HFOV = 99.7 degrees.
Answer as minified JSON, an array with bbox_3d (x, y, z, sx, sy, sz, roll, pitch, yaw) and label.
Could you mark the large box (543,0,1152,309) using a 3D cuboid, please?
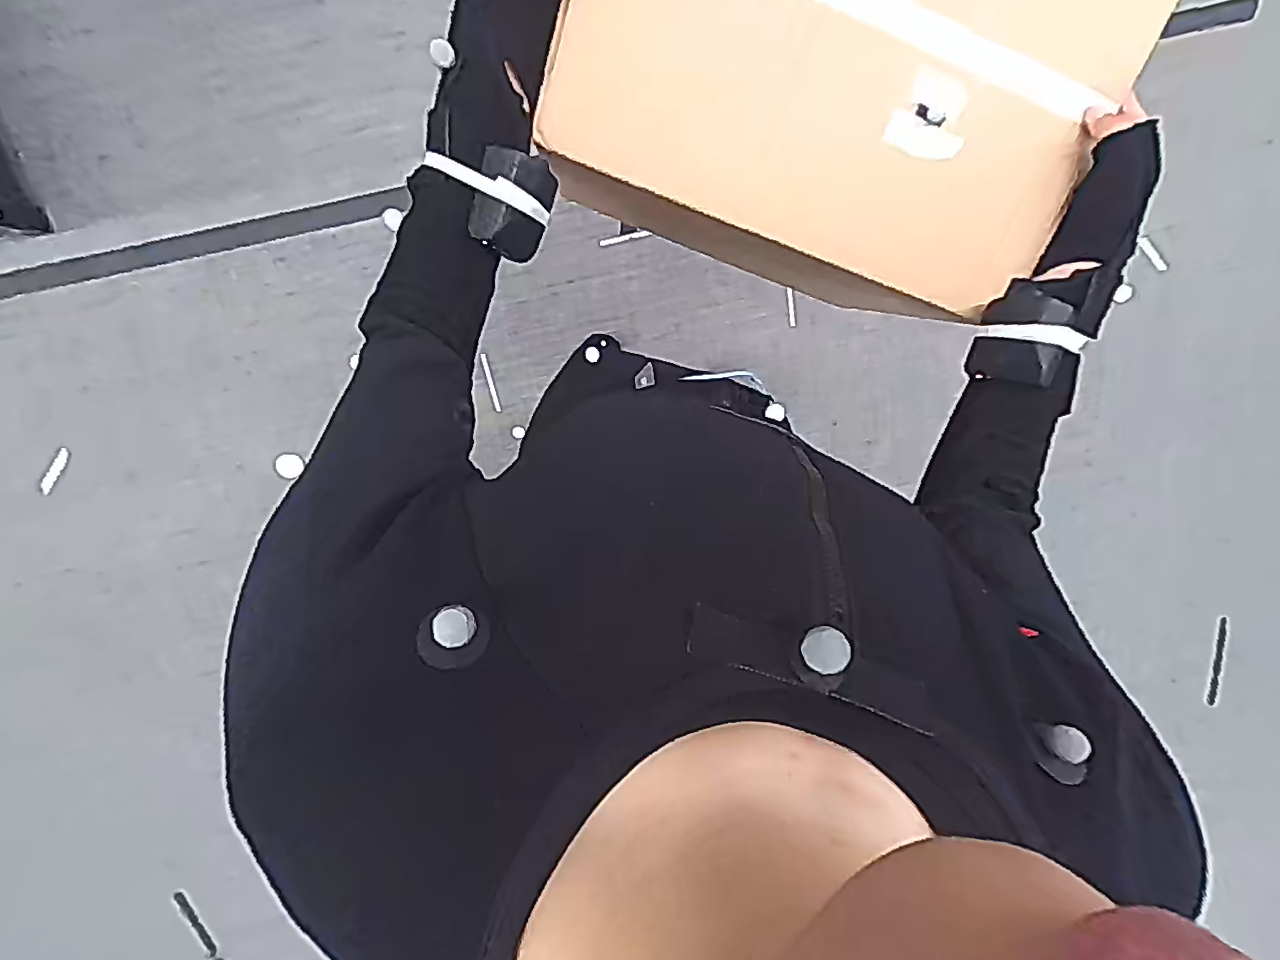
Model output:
[{"bbox_3d":[0.145,-0.386,0.520,0.408,0.320,0.320,16,110,-11],"label":"large box"}]
